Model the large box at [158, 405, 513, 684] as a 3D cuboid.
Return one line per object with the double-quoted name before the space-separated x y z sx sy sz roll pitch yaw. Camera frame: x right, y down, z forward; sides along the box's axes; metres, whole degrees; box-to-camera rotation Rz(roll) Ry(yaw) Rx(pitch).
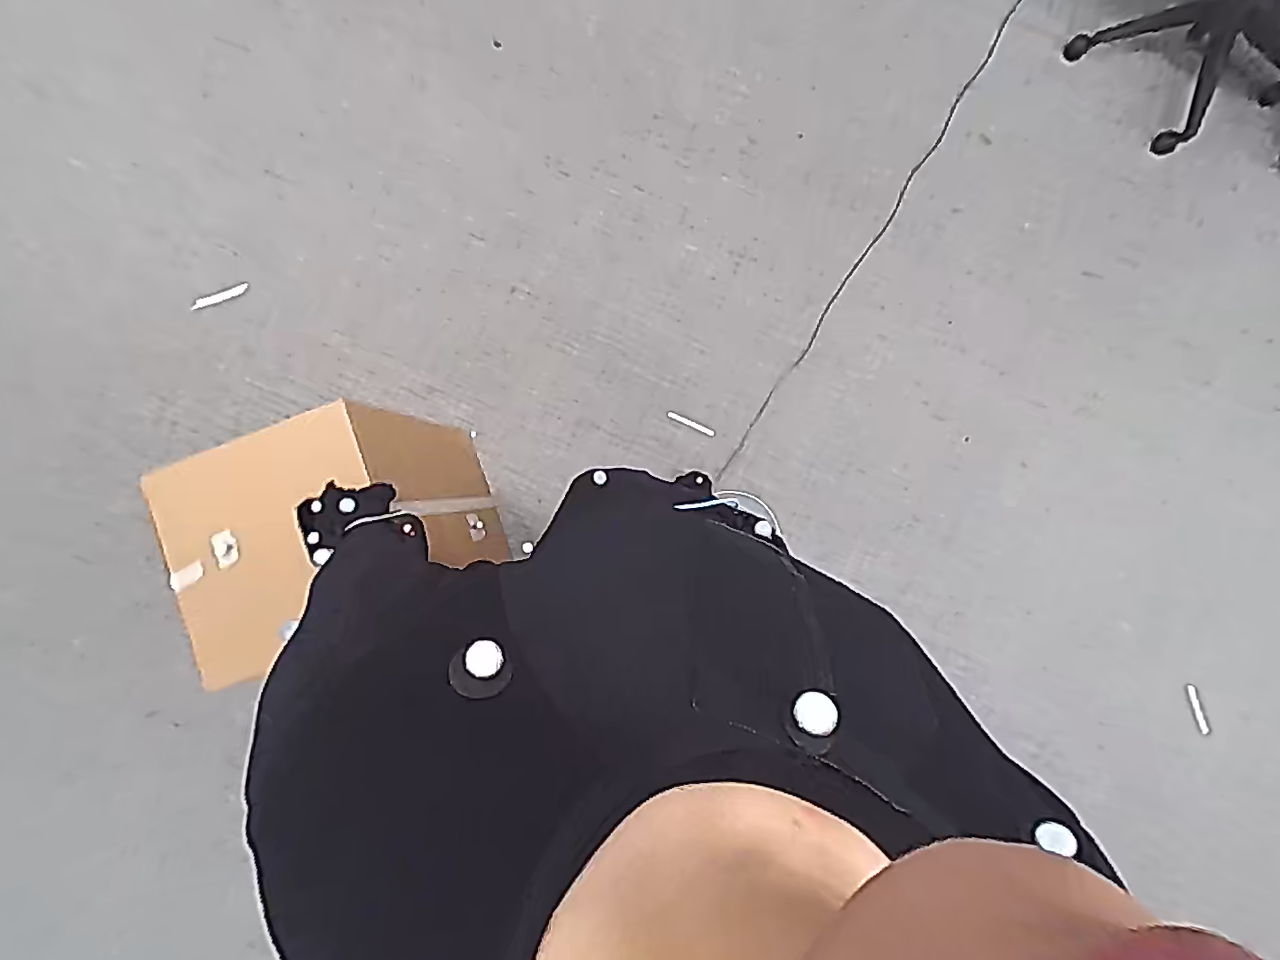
"large box" -0.470 0.093 0.930 0.320 0.408 0.320 -20 87 5
